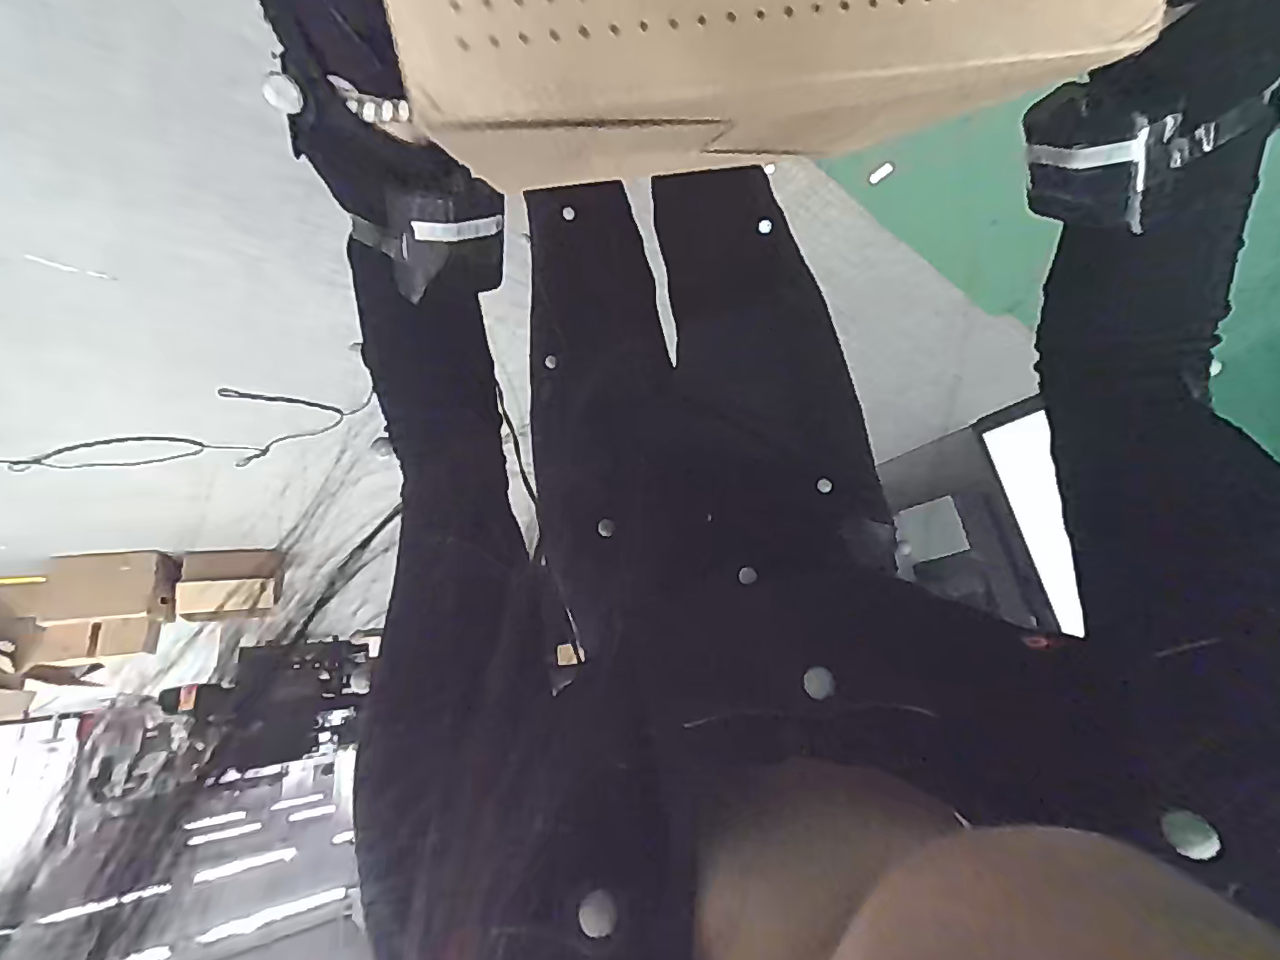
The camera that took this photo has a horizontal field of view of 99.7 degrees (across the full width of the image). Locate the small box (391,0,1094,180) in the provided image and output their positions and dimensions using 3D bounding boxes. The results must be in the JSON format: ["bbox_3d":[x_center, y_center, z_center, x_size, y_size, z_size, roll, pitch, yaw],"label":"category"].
[{"bbox_3d":[0.014,-0.197,0.163,0.179,0.168,0.176,-9,115,-4],"label":"small box"}]
